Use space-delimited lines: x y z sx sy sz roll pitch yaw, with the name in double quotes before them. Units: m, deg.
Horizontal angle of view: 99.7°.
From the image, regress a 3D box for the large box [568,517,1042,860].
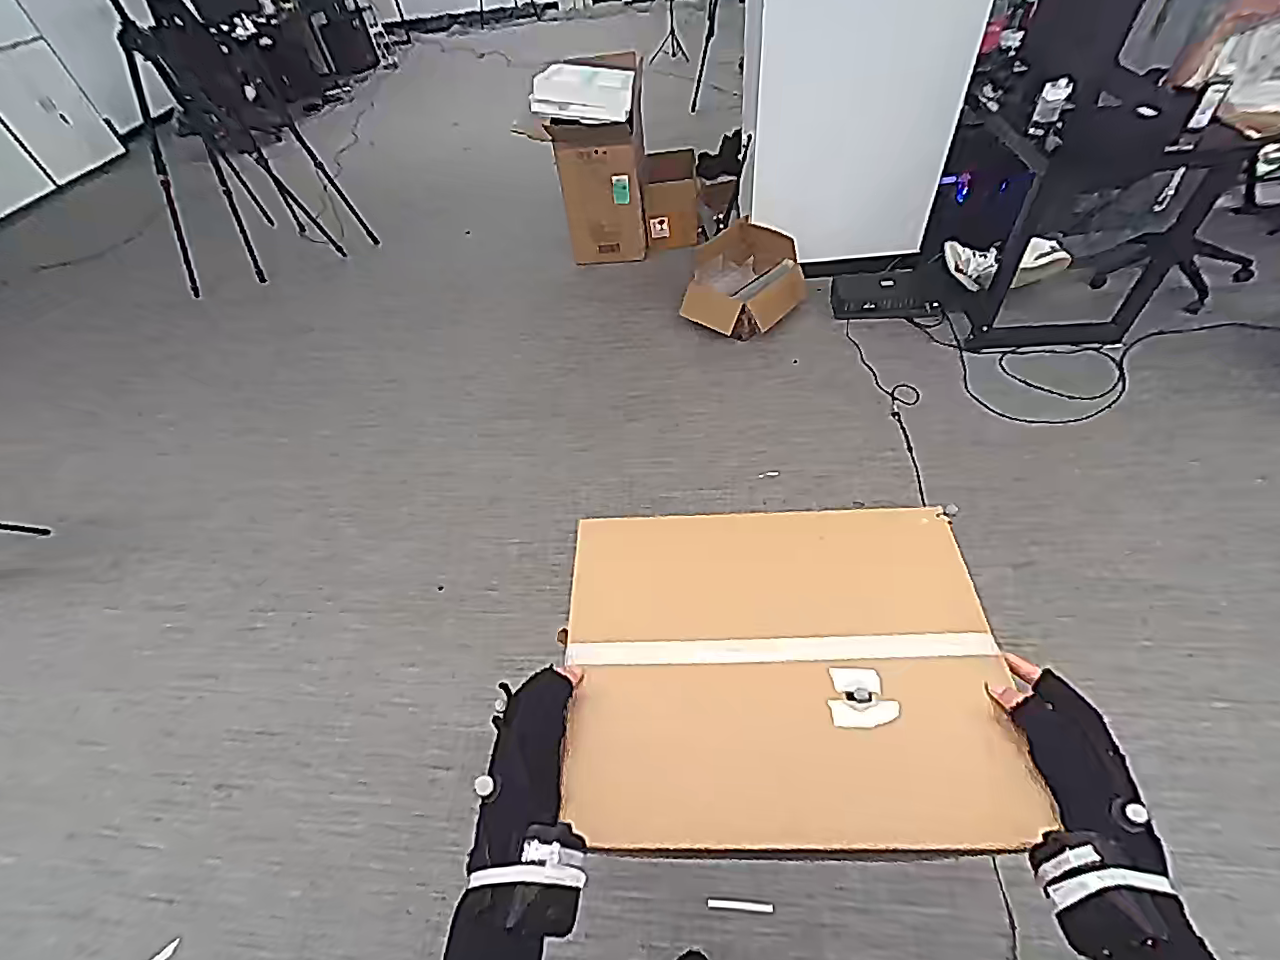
"large box" 0.141 0.264 0.657 0.408 0.320 0.320 -2 54 3
